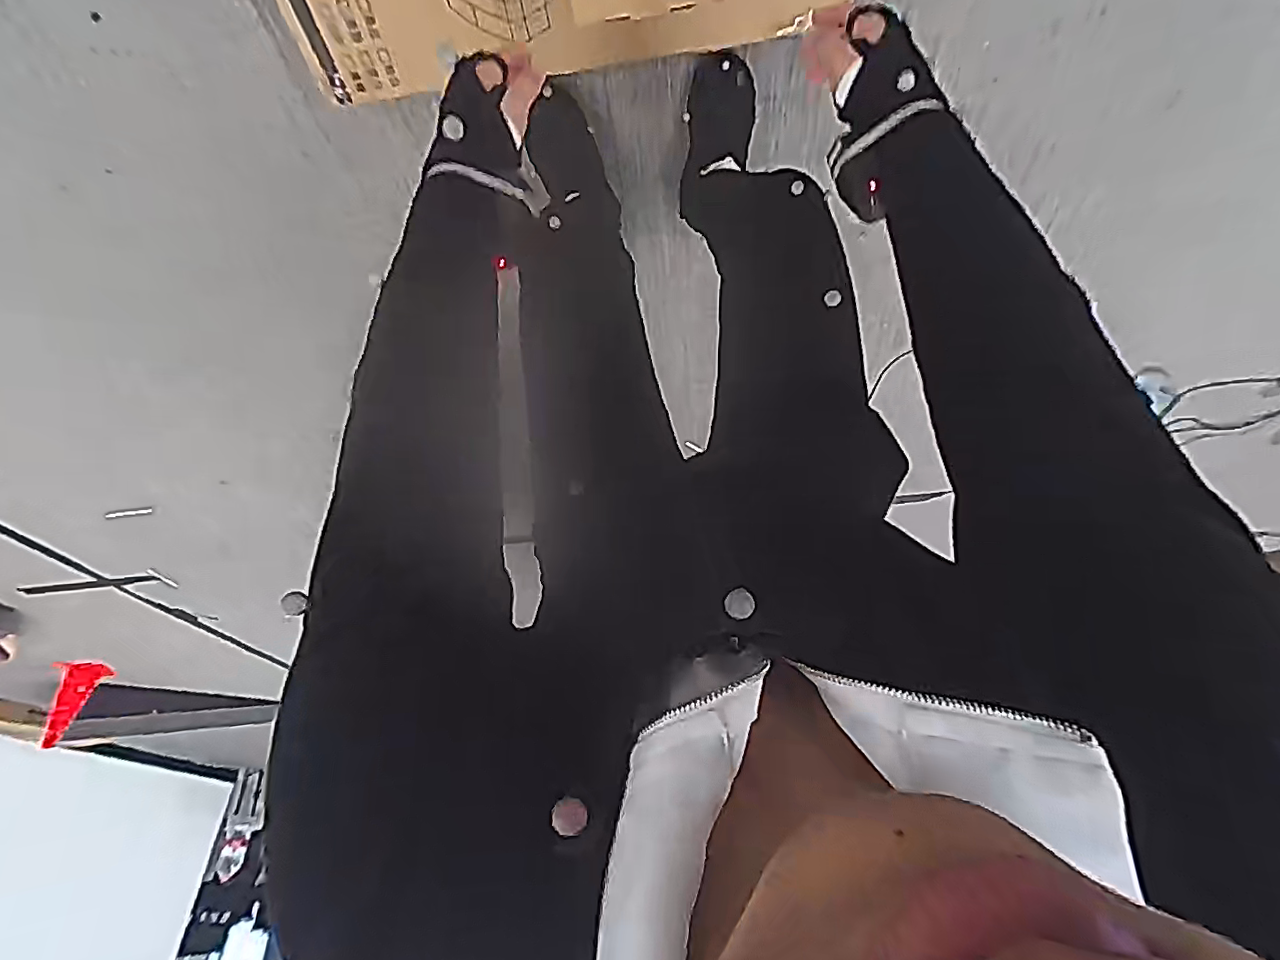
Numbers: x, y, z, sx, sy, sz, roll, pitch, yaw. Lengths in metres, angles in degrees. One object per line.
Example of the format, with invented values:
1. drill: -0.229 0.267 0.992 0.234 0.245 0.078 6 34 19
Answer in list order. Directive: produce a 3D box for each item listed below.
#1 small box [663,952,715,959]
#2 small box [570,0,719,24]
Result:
1. small box: 0.173 1.726 1.841 0.168 0.176 0.179 -8 141 8
2. small box: -0.007 -0.617 0.560 0.168 0.176 0.179 -7 143 4
